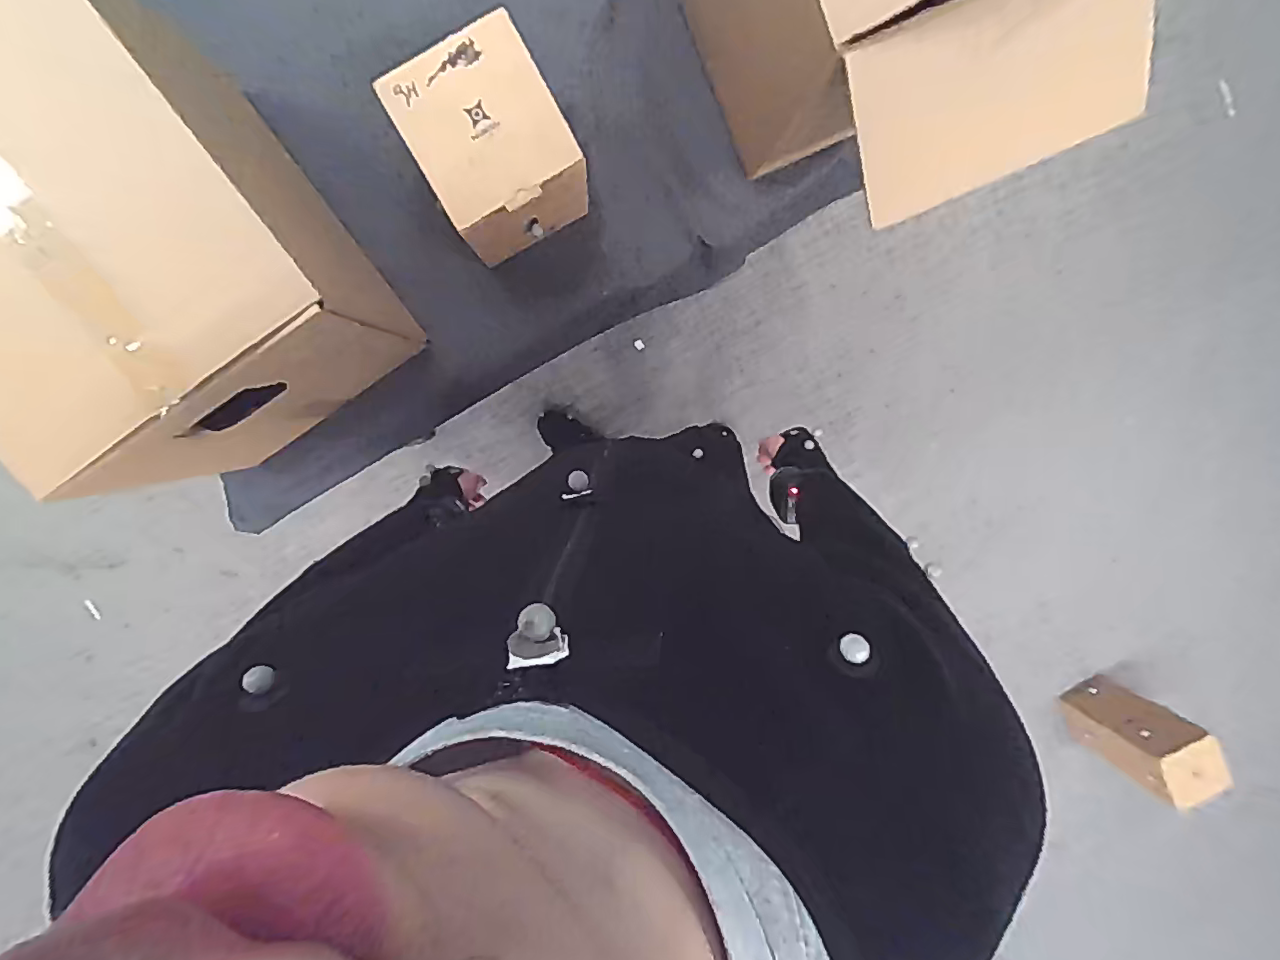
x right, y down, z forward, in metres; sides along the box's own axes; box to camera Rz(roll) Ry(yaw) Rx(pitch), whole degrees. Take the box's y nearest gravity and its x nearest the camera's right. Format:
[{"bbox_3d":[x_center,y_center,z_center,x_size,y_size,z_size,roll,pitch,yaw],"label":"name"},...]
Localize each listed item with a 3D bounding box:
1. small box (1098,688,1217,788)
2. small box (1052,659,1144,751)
[{"bbox_3d":[1.485,0.734,1.564,0.168,0.176,0.179,-29,102,2],"label":"small box"},{"bbox_3d":[1.475,0.709,1.723,0.168,0.176,0.179,-30,100,1],"label":"small box"}]
